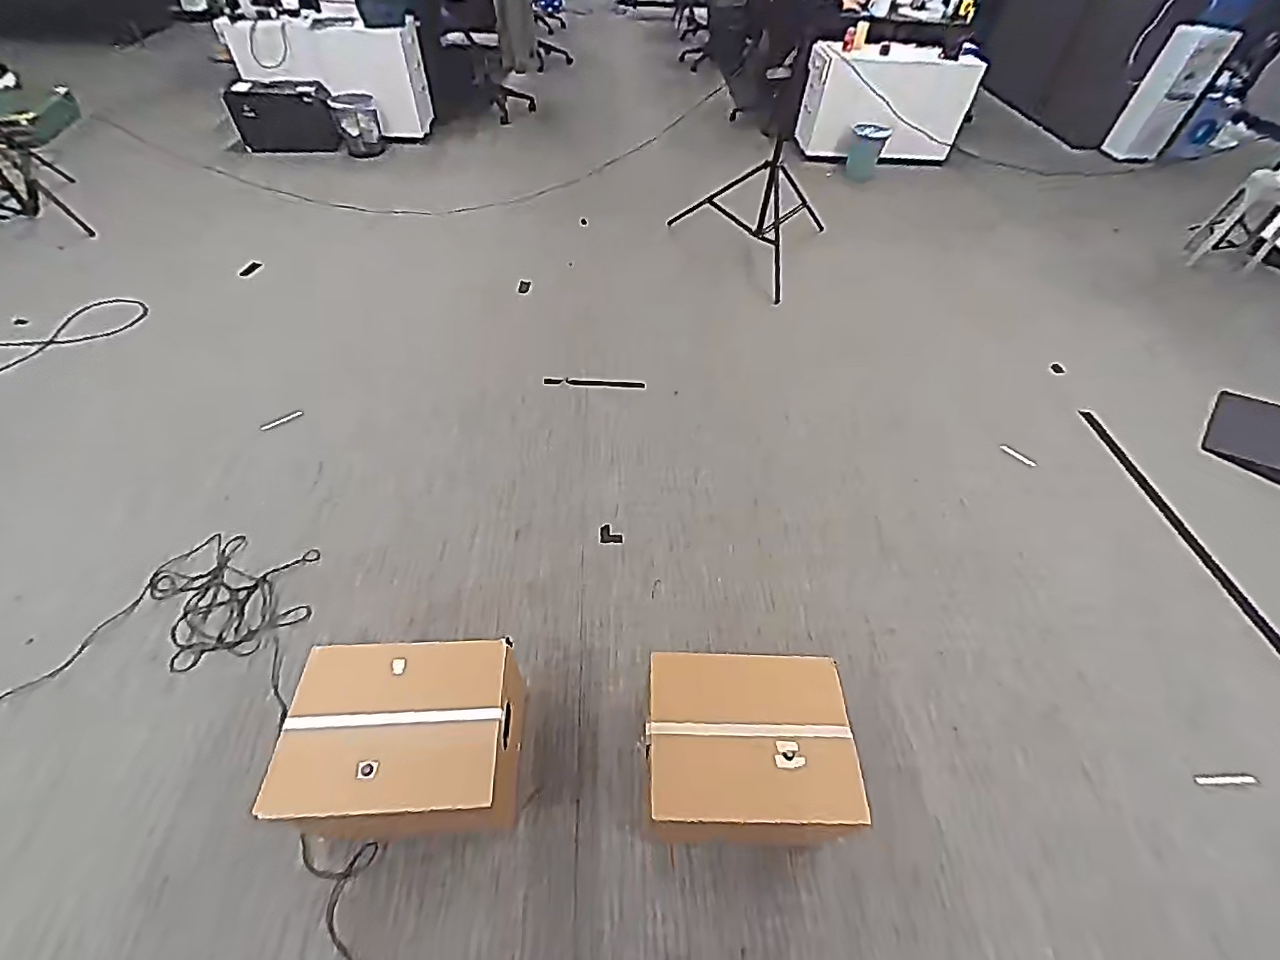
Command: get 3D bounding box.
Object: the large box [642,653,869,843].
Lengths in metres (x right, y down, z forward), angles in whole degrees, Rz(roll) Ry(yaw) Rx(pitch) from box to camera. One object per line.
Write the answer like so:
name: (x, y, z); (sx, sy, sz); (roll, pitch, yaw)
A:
large box: (0.215, 0.595, 1.193); (0.408, 0.320, 0.320); (3, 50, -3)
